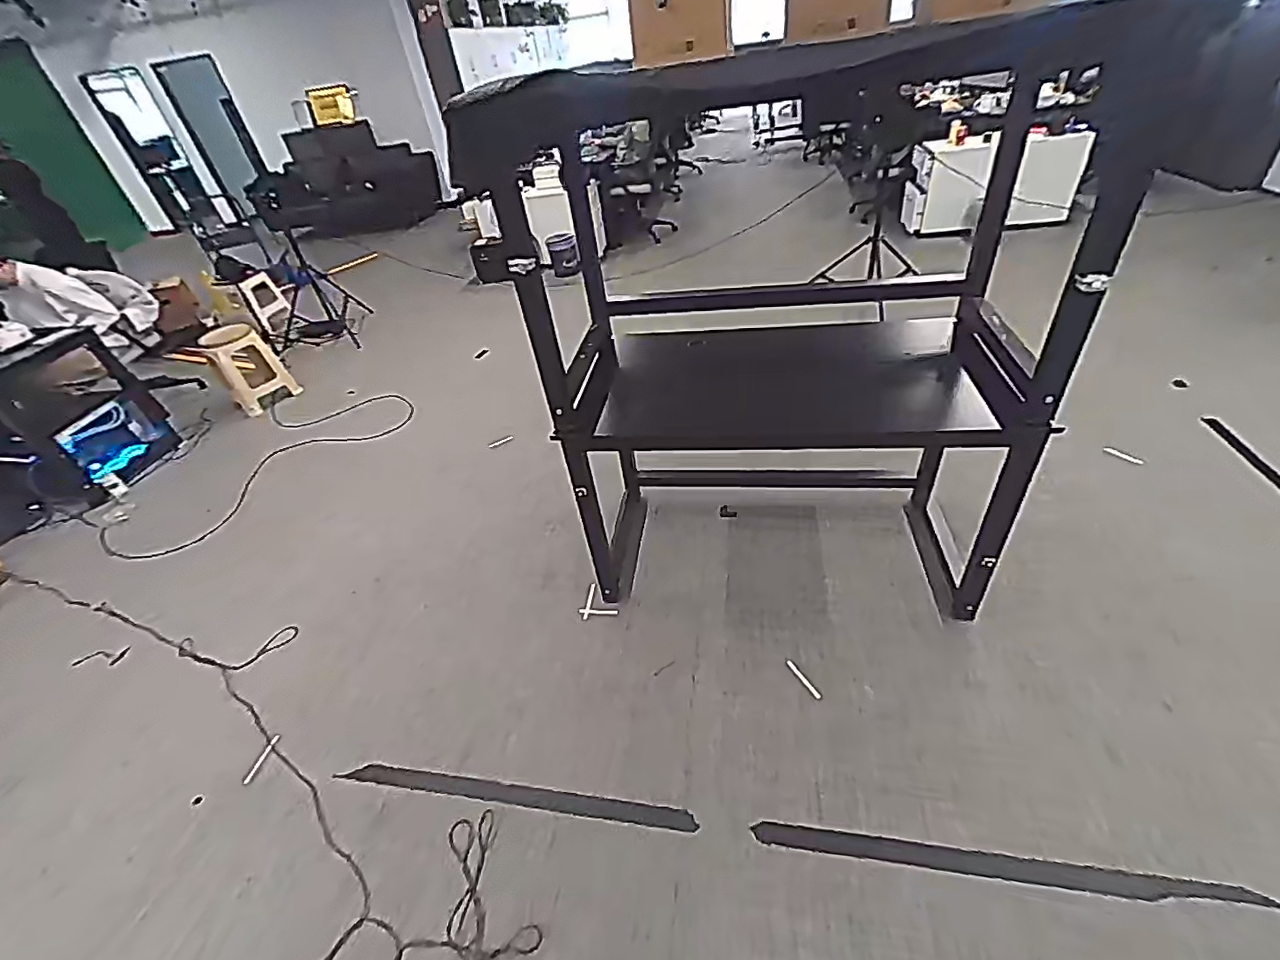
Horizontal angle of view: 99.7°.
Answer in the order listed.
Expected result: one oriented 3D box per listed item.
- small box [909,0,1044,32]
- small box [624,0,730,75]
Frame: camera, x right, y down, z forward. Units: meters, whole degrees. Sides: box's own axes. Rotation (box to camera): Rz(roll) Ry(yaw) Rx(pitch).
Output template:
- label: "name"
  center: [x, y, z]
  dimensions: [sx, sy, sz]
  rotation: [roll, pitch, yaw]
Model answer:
- label: "small box"
  center: [0.539, -0.828, 0.854]
  dimensions: [0.168, 0.176, 0.179]
  rotation: [0, 39, 13]
- label: "small box"
  center: [0.072, -0.840, 0.968]
  dimensions: [0.168, 0.176, 0.179]
  rotation: [2, 38, 13]
